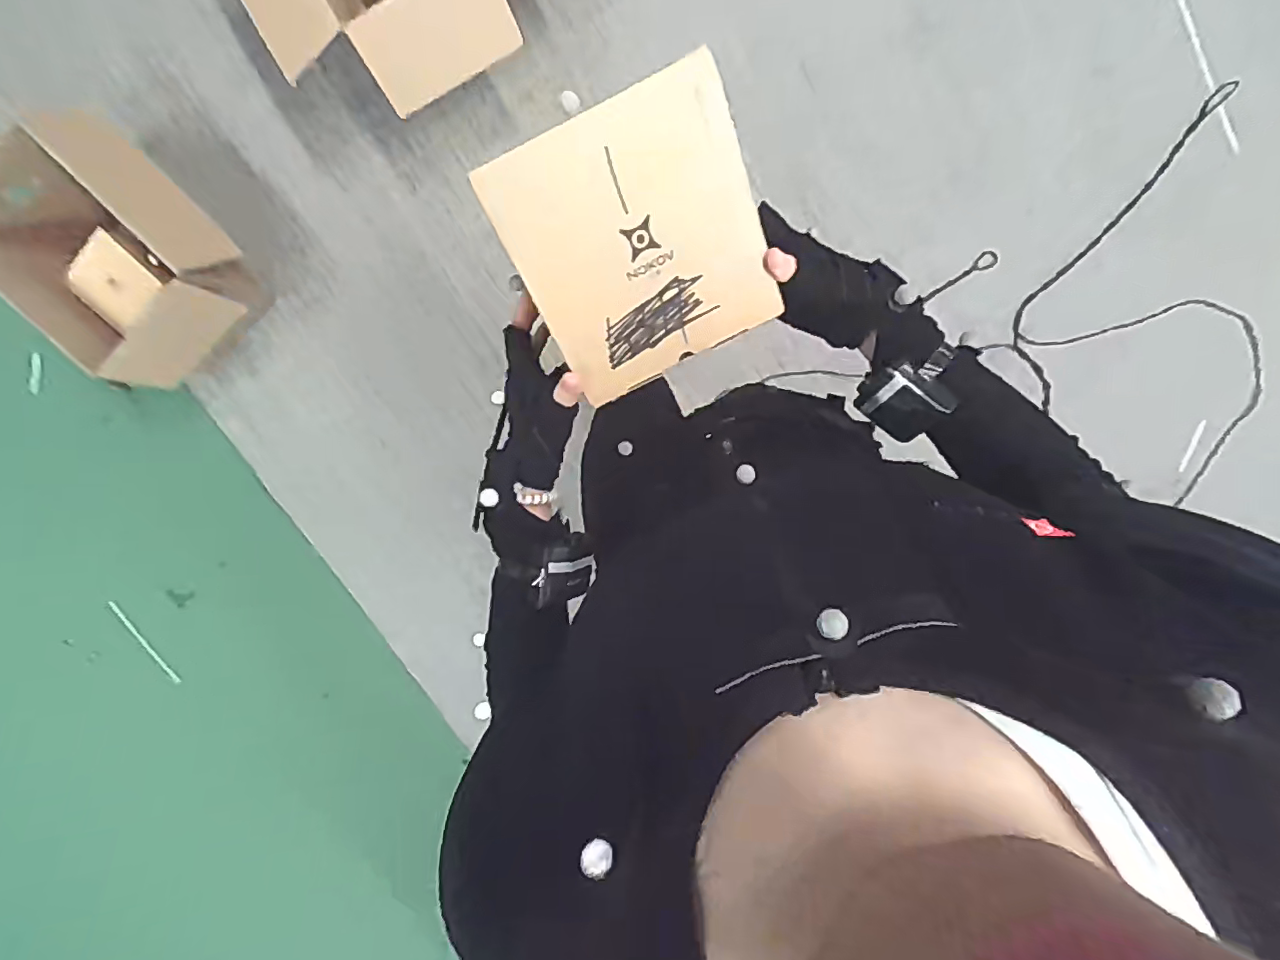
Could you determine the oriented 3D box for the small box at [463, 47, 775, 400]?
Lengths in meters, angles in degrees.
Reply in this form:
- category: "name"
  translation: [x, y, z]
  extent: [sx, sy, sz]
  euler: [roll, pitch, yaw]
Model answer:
- category: "small box"
  translation: [-0.017, -0.199, 0.433]
  extent: [0.168, 0.176, 0.179]
  euler: [-26, 122, 2]
